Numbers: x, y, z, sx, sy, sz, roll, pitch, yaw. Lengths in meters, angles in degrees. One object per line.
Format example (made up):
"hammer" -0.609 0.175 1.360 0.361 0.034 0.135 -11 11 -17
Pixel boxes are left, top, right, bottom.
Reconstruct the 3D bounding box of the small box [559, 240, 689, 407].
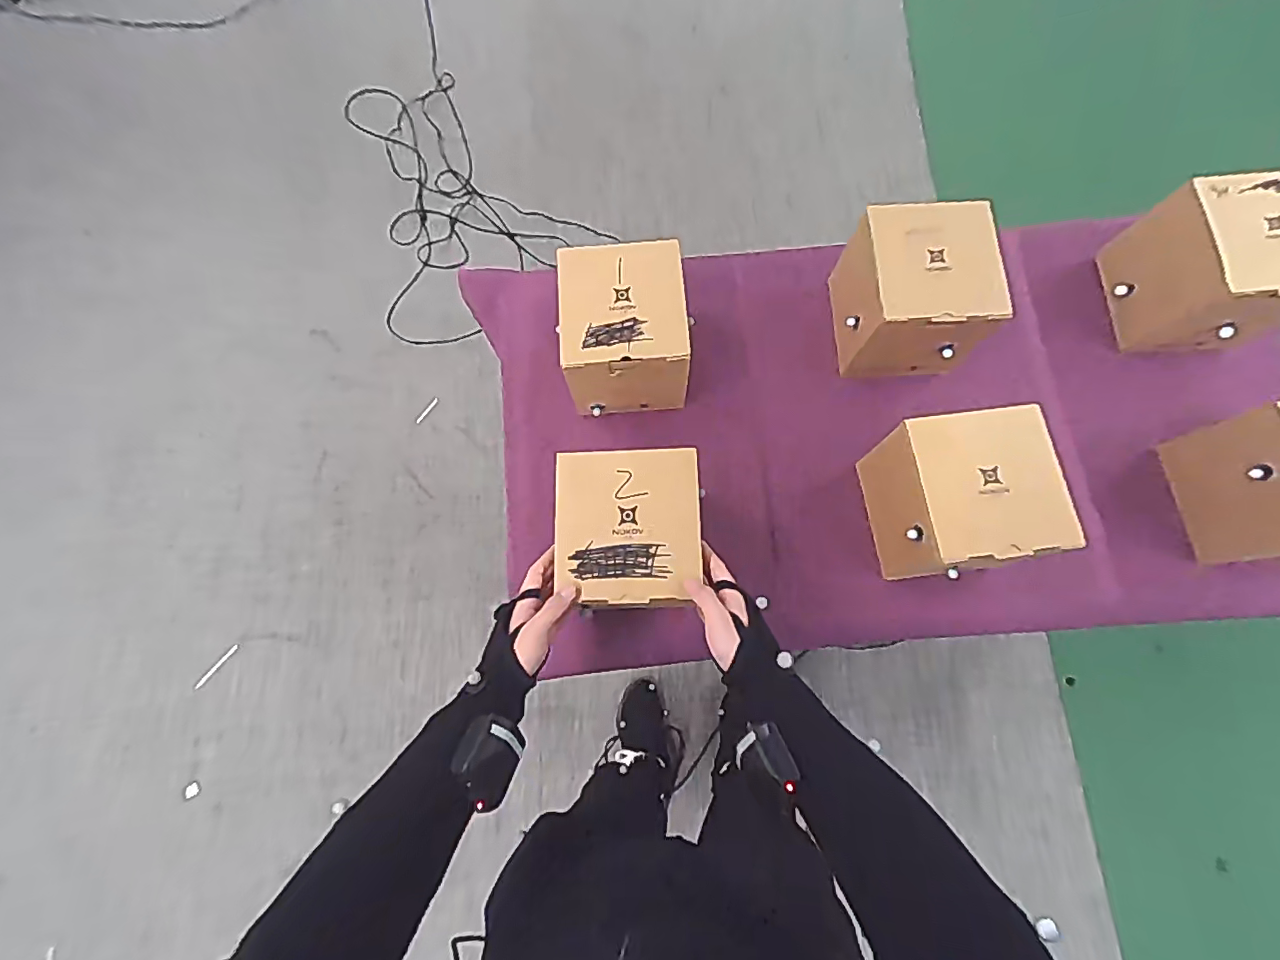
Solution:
"small box" -0.020 -0.212 0.778 0.168 0.176 0.179 -4 75 0

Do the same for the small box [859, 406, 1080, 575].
"small box" 0.407 0.022 0.705 0.168 0.176 0.179 -6 75 0

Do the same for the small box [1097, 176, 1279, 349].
"small box" 0.814 -0.298 0.775 0.168 0.176 0.179 -3 78 1

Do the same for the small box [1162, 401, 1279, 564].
"small box" 0.838 0.006 0.692 0.168 0.176 0.179 -5 75 2

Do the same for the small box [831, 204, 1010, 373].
"small box" 0.389 -0.265 0.782 0.168 0.176 0.179 -1 75 1
